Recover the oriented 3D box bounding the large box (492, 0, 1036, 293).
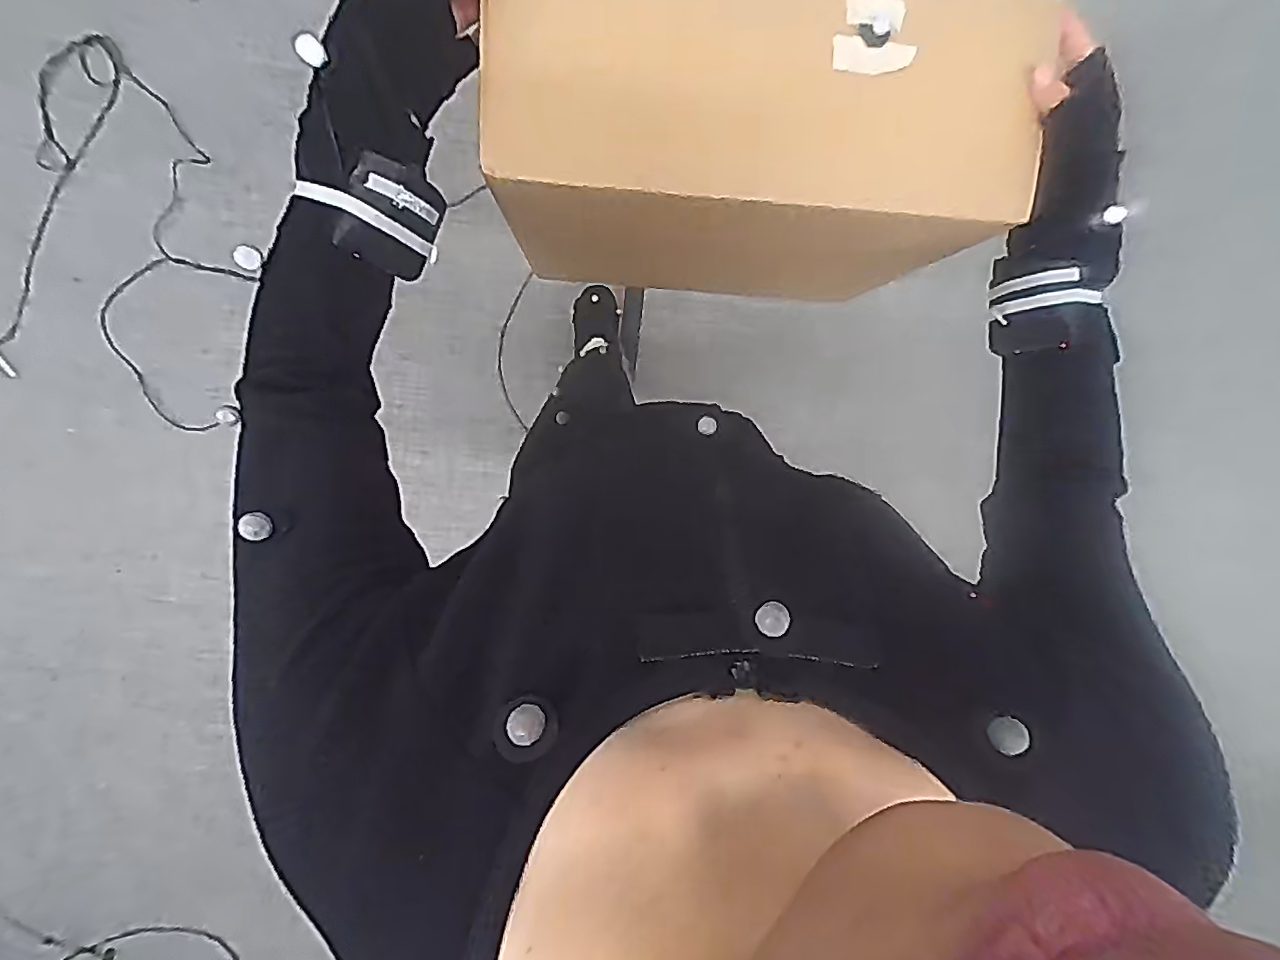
[{"bbox_3d":[0.084,-0.385,0.533,0.408,0.320,0.320,3,98,-5],"label":"large box"}]
